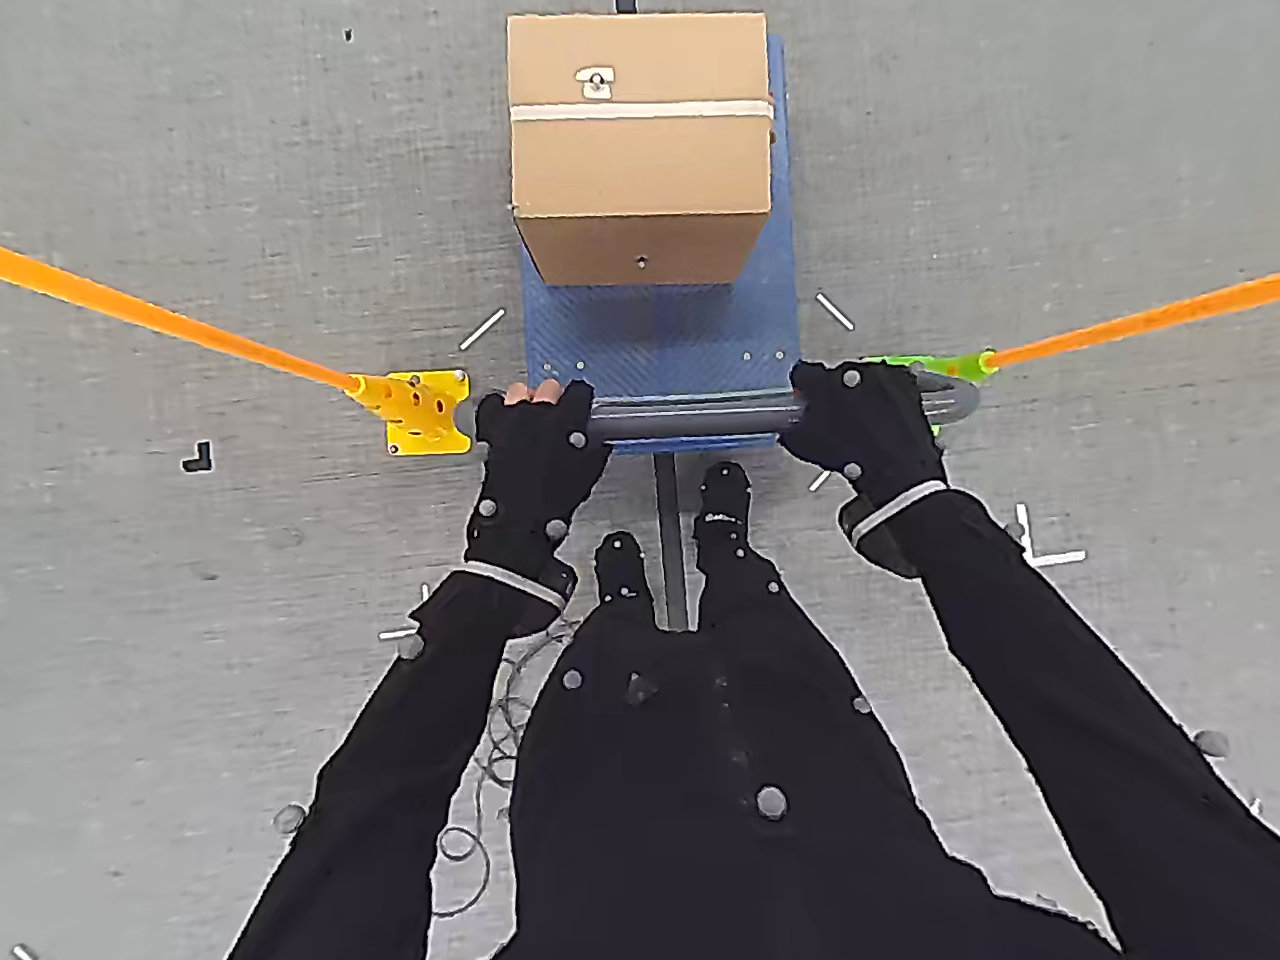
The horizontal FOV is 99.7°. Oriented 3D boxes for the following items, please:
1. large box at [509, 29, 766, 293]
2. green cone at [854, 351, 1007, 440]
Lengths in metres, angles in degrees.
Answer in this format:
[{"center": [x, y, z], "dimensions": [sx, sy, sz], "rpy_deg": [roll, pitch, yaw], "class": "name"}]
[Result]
[{"center": [-0.002, -0.552, 1.003], "dimensions": [0.408, 0.320, 0.320], "rpy_deg": [-1, 90, 0], "class": "large box"}, {"center": [0.625, -0.202, 1.140], "dimensions": [0.202, 0.368, 0.200], "rpy_deg": [-2, 89, -1], "class": "green cone"}]
